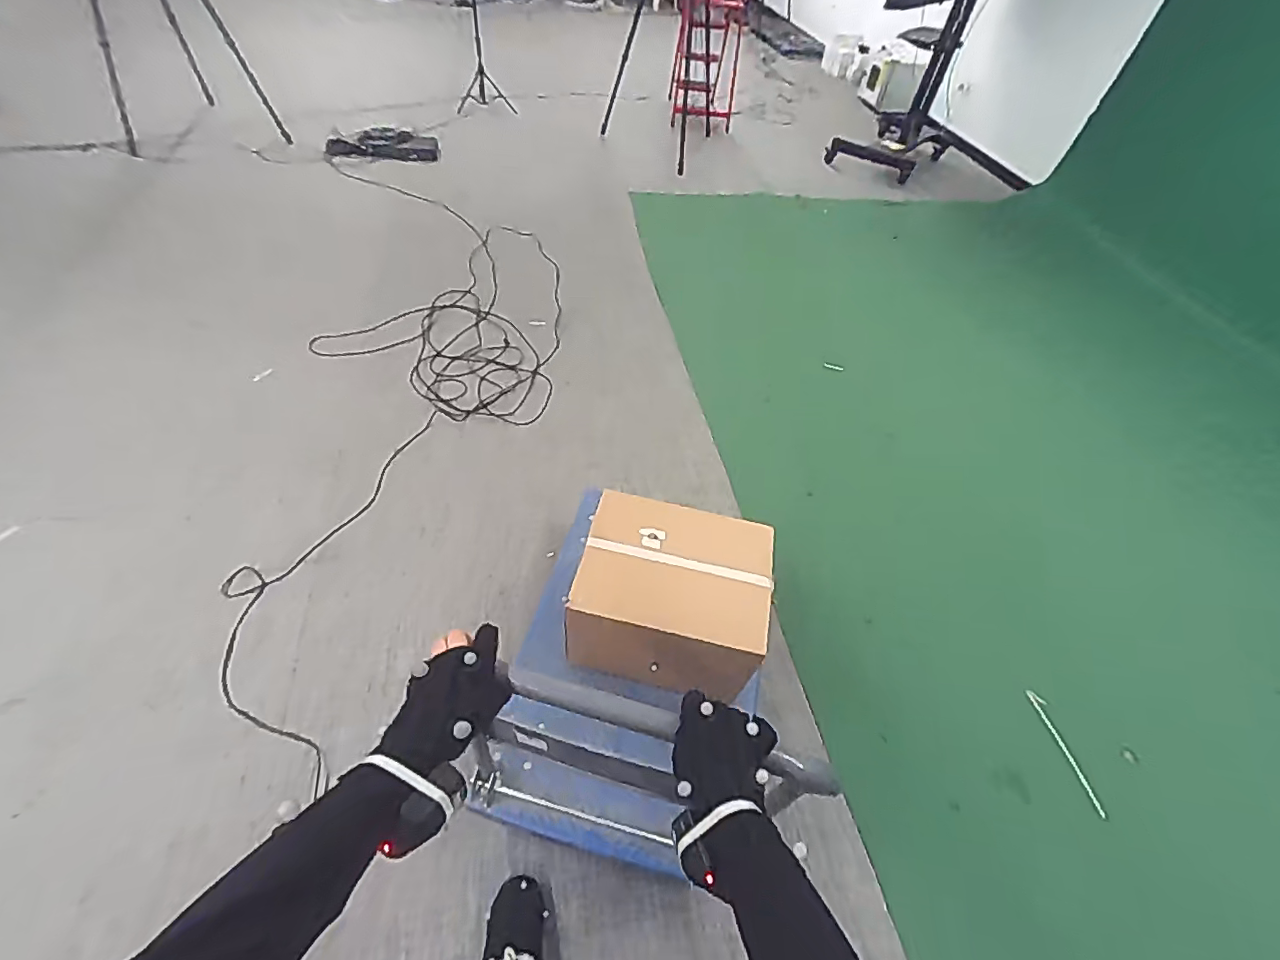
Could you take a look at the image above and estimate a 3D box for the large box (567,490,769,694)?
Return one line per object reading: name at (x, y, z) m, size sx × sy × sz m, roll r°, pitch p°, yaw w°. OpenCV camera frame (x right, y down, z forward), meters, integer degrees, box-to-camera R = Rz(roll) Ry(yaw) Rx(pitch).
large box at (0.065, 0.269, 1.271) m, size 0.408 × 0.320 × 0.320 m, roll 13°, pitch 50°, yaw 4°
